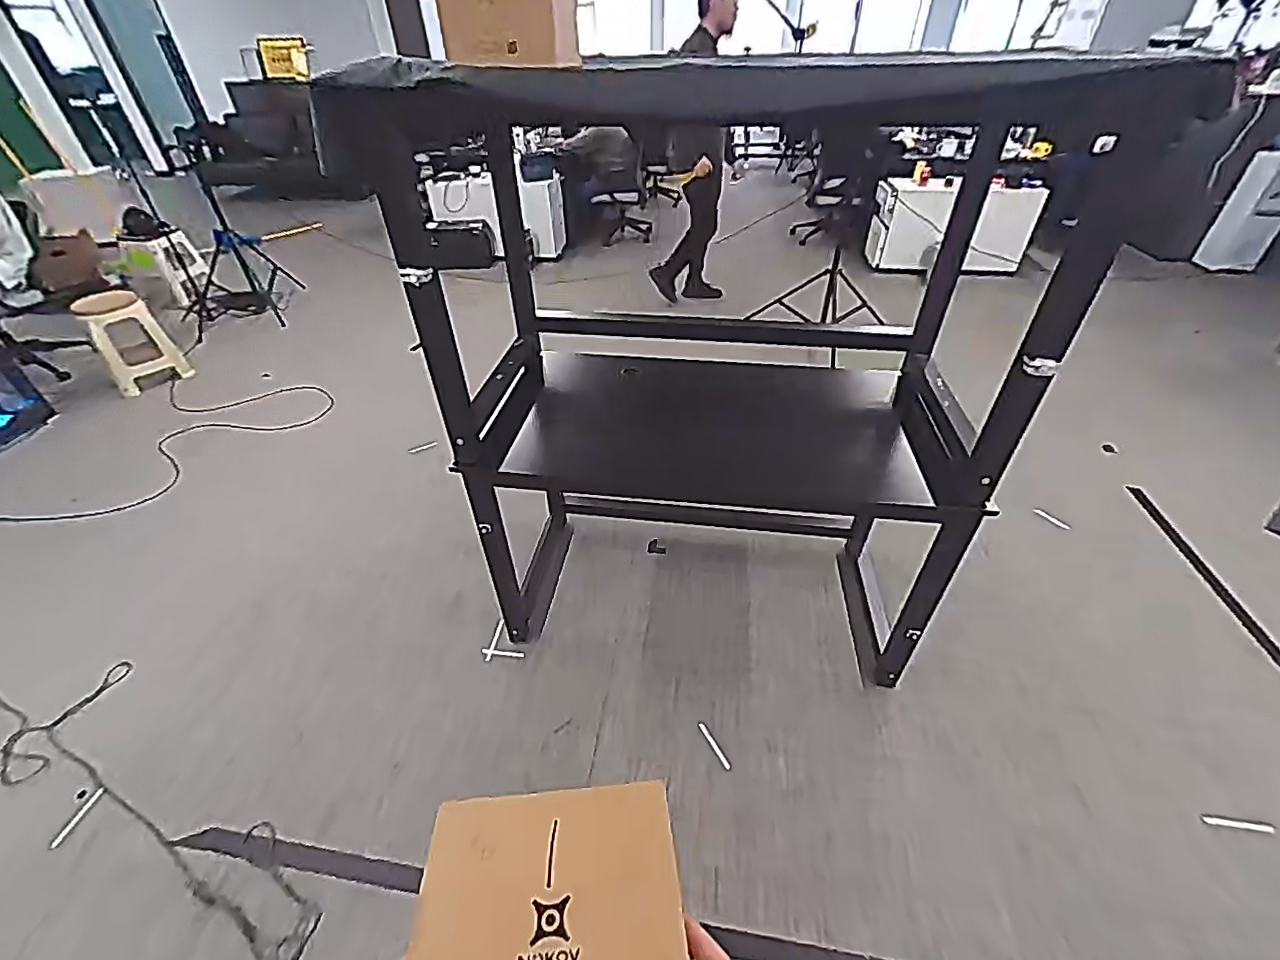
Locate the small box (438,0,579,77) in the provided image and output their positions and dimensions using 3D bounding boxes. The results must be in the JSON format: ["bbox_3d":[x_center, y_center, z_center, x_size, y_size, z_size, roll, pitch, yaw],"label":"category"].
[{"bbox_3d":[-0.190,-0.709,0.803,0.168,0.176,0.179,5,37,6],"label":"small box"}]

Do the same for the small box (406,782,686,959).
[{"bbox_3d":[-0.053,0.340,0.361,0.168,0.176,0.179,-3,30,-4],"label":"small box"}]
